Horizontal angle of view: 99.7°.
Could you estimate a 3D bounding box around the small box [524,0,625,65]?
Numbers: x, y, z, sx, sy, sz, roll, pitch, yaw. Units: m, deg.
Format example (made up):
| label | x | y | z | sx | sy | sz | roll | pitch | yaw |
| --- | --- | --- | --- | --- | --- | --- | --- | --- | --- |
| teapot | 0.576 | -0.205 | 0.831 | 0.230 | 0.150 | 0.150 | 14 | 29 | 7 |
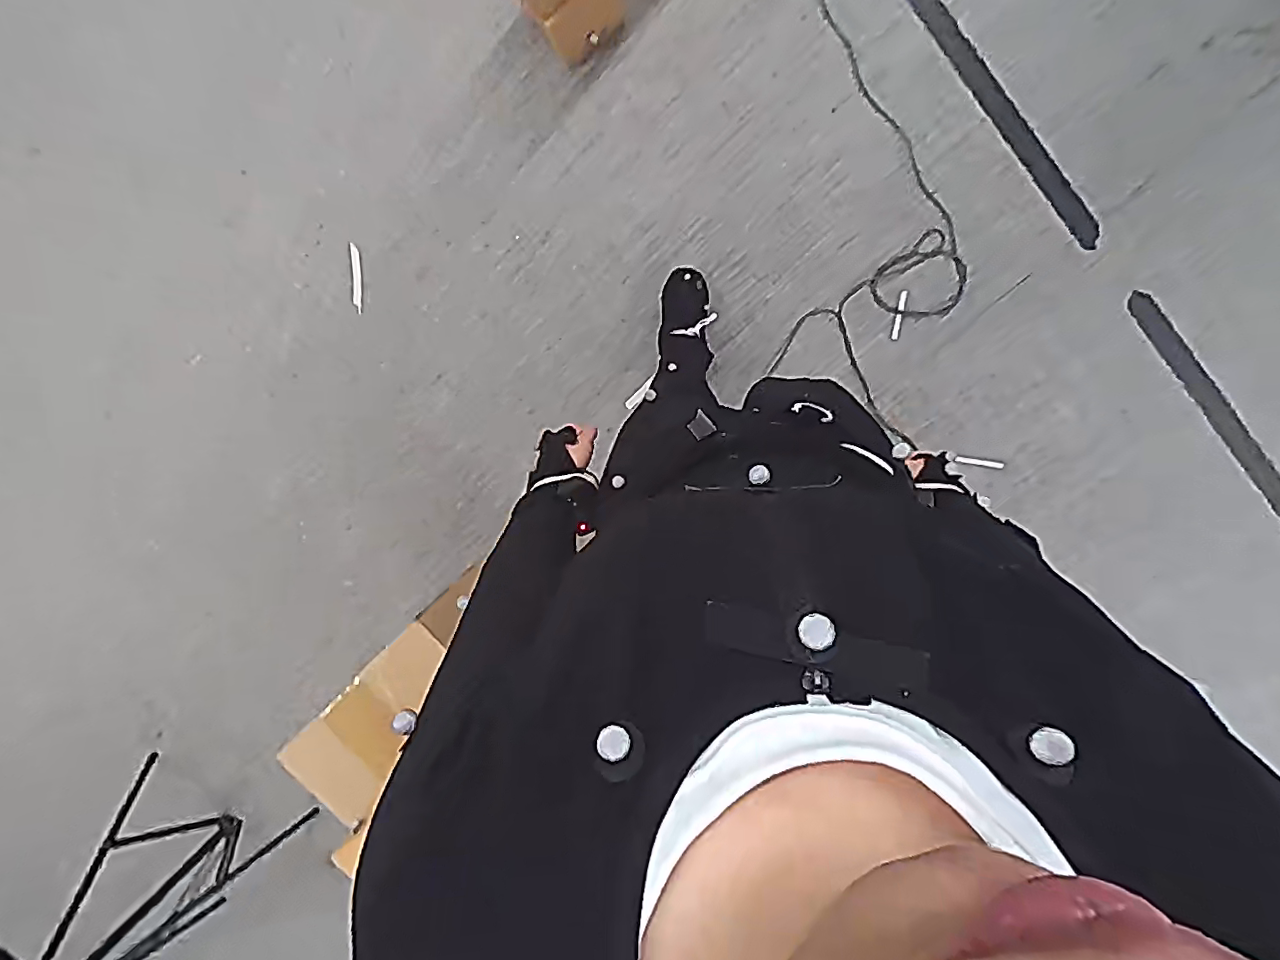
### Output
| label | x | y | z | sx | sy | sz | roll | pitch | yaw |
| --- | --- | --- | --- | --- | --- | --- | --- | --- | --- |
| small box | -0.150 | -0.998 | 1.084 | 0.168 | 0.176 | 0.179 | -33 | 98 | 14 |
